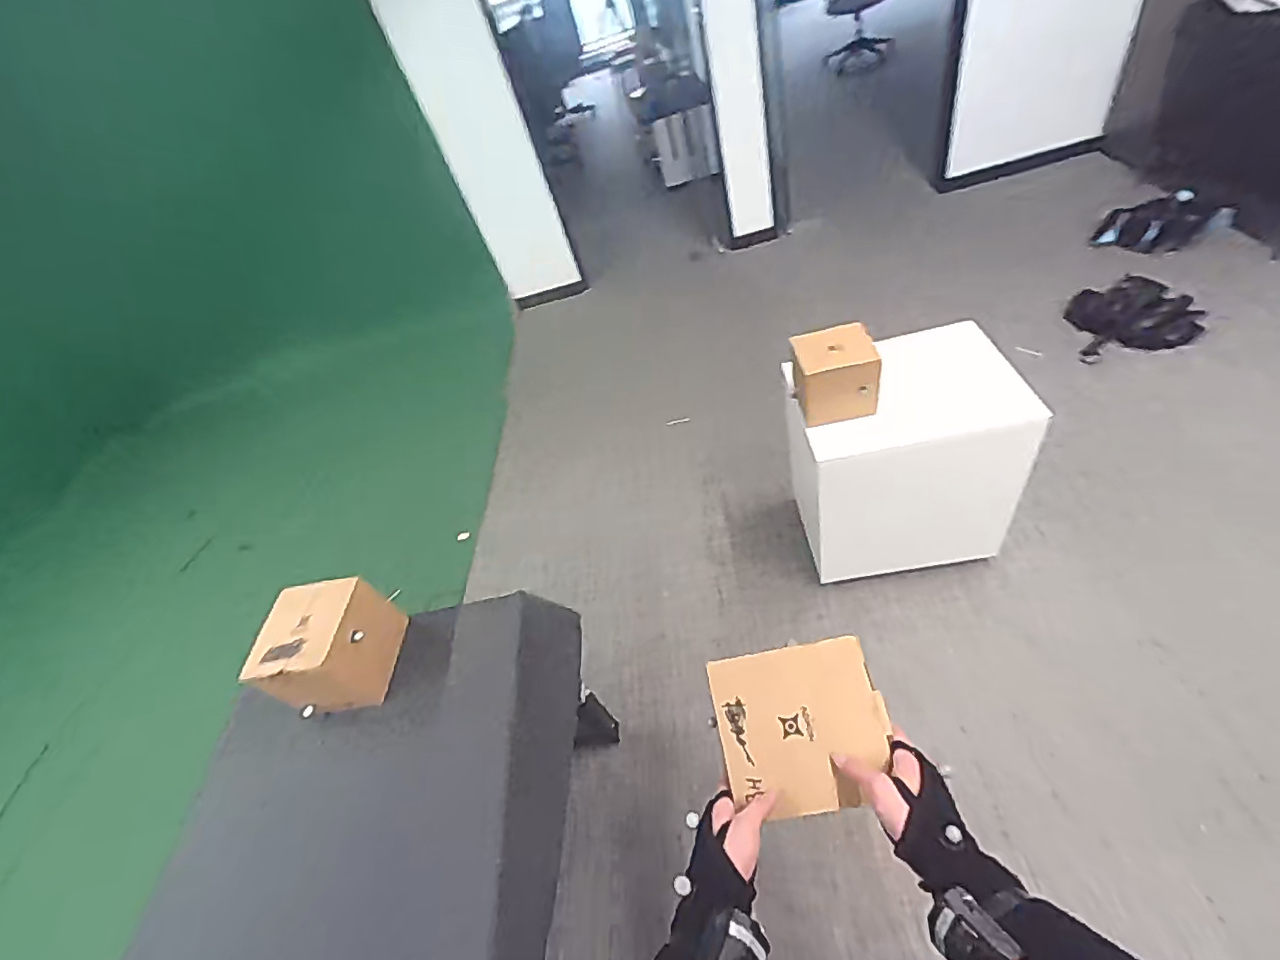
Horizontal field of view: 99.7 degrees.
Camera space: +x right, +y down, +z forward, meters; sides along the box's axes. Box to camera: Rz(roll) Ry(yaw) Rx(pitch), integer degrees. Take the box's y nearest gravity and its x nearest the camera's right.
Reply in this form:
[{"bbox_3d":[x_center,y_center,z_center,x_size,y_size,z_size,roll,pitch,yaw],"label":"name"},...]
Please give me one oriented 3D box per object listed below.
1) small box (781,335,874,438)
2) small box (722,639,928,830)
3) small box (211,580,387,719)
[{"bbox_3d":[0.456,-0.229,1.339,0.179,0.176,0.168,-12,43,6],"label":"small box"},{"bbox_3d":[0.200,0.291,0.638,0.179,0.176,0.168,-12,65,7],"label":"small box"},{"bbox_3d":[-0.578,0.304,0.947,0.168,0.176,0.179,-9,45,8],"label":"small box"}]
